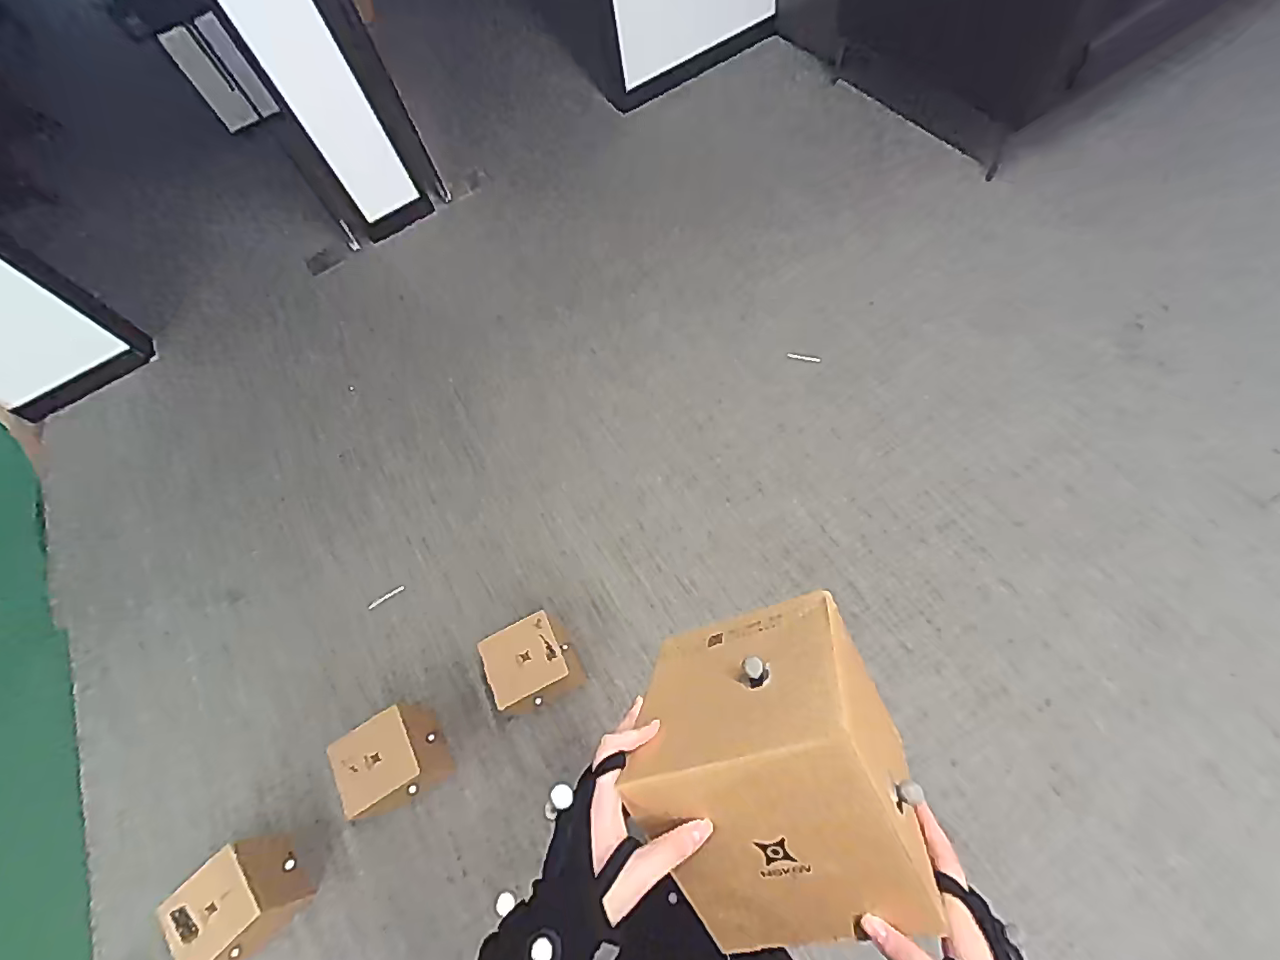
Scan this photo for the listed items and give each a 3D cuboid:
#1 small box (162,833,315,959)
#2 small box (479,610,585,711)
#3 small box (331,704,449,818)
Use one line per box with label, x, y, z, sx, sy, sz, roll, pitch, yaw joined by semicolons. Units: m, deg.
small box;-0.854;0.902;1.163;0.179;0.176;0.168;-42;65;-13
small box;-0.254;0.440;1.301;0.179;0.176;0.168;-27;63;-4
small box;-0.565;0.642;1.248;0.179;0.176;0.168;-31;63;-7
